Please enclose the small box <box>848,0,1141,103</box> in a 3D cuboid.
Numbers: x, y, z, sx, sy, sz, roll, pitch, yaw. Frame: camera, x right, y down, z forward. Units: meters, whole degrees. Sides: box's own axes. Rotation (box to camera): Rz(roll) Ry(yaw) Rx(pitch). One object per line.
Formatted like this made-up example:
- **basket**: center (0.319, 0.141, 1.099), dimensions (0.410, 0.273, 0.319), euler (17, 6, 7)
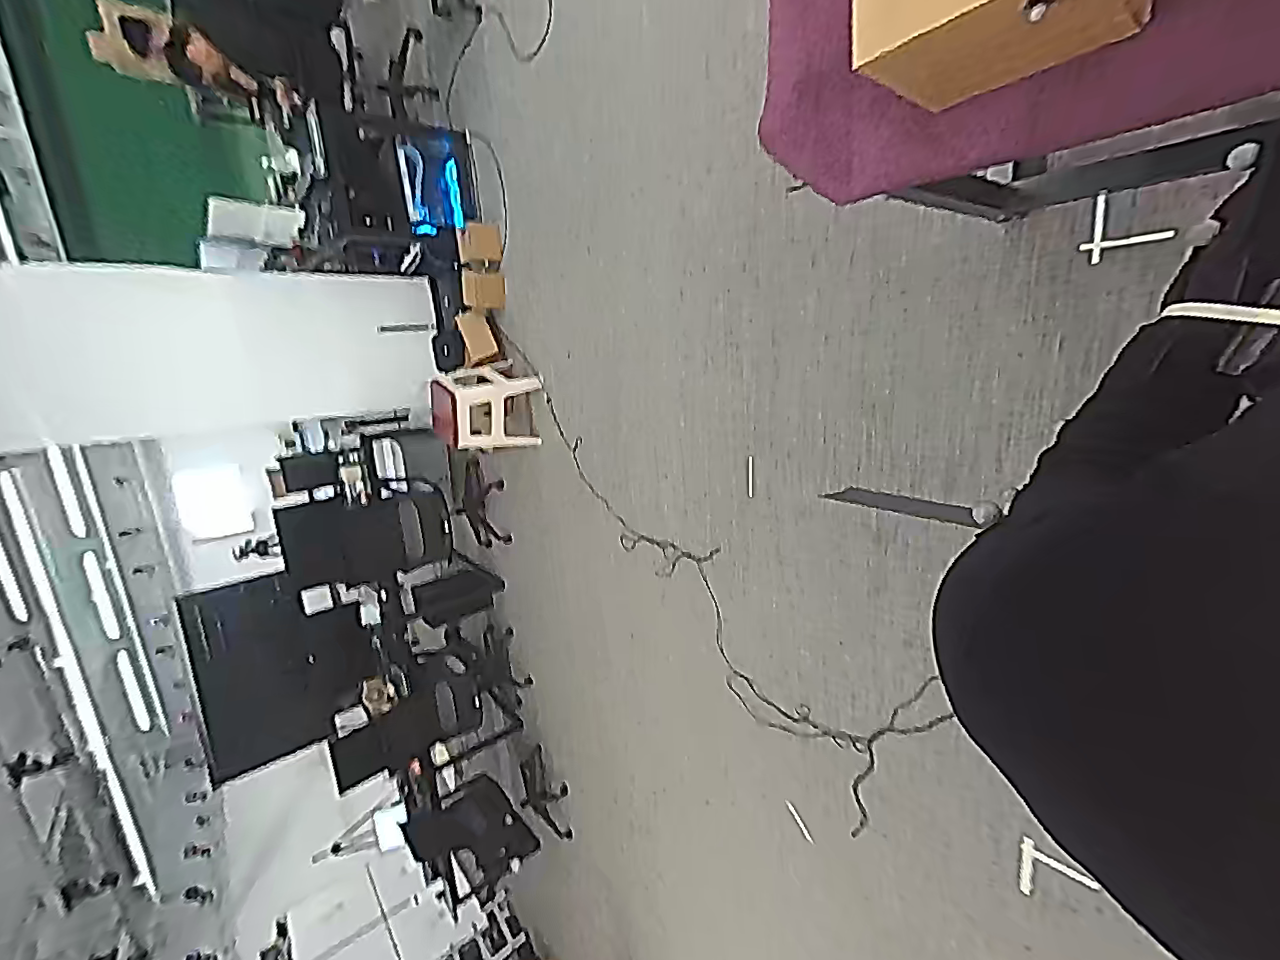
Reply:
- **small box**: center (0.301, -0.461, 0.461), dimensions (0.179, 0.176, 0.168), euler (8, 107, 50)
